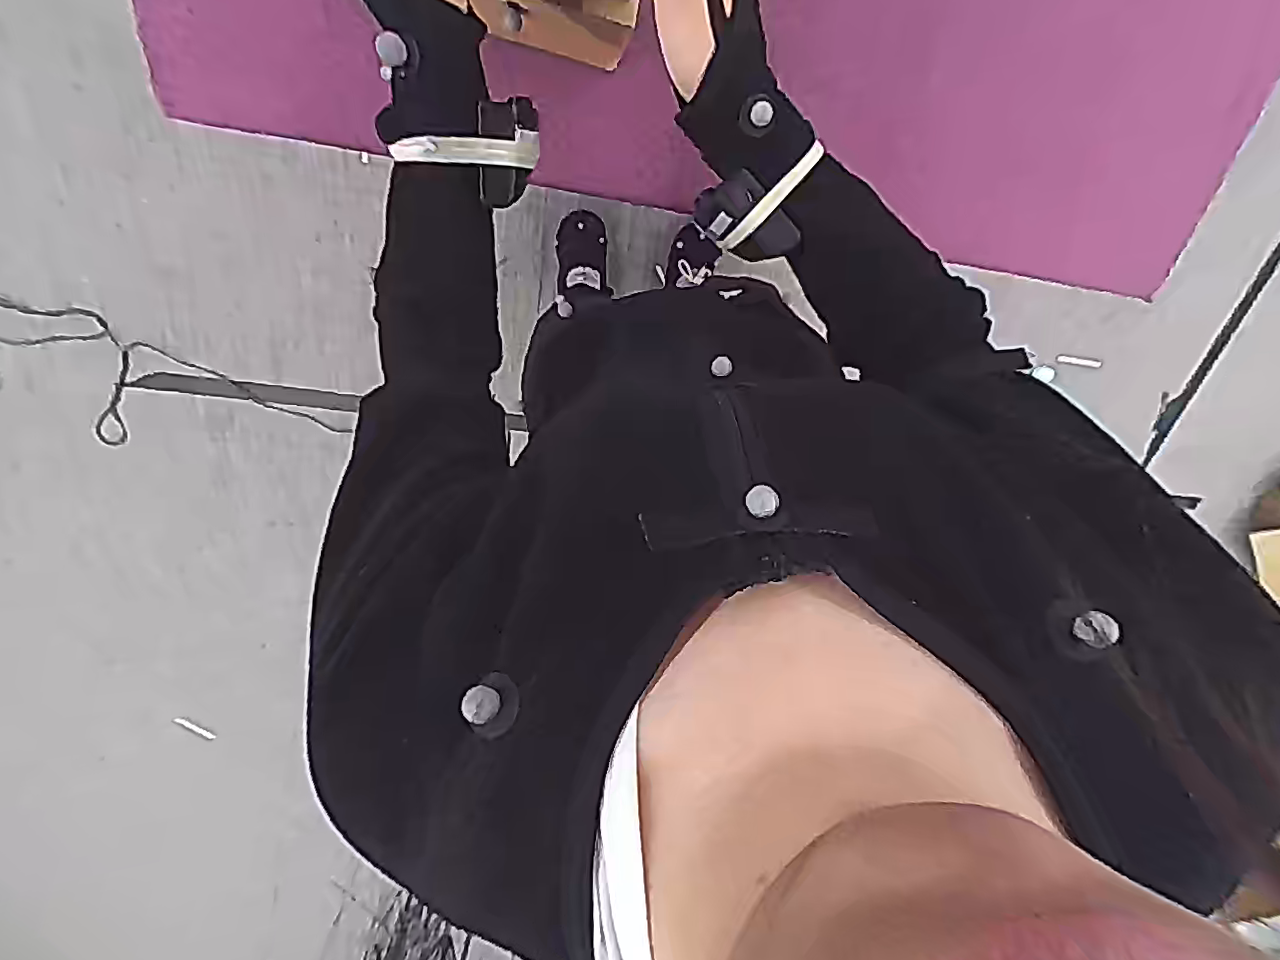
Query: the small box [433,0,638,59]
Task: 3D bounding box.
[{"bbox_3d":[-0.083,-0.469,0.434,0.179,0.176,0.168,8,117,-12],"label":"small box"}]
